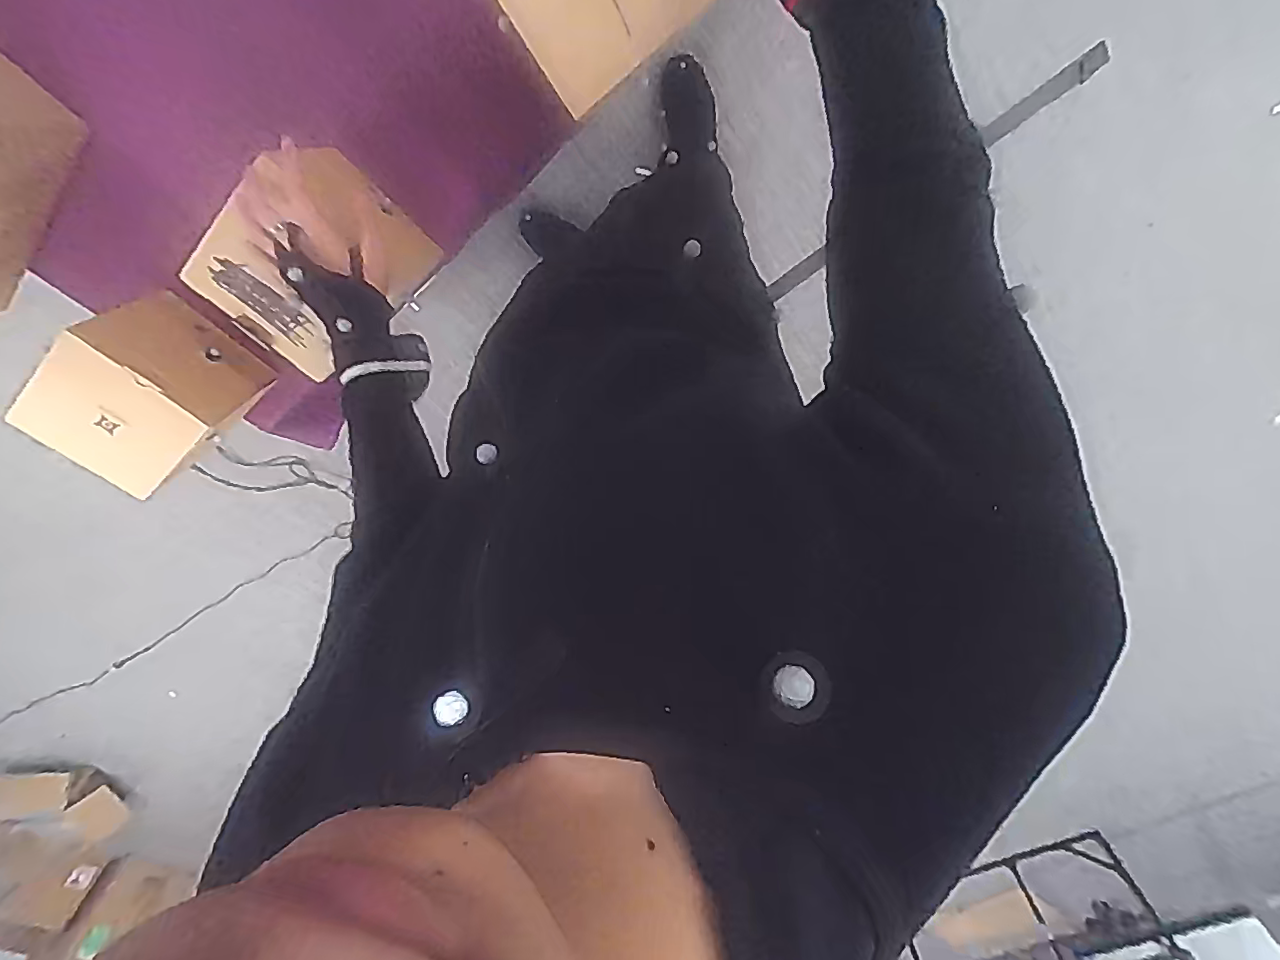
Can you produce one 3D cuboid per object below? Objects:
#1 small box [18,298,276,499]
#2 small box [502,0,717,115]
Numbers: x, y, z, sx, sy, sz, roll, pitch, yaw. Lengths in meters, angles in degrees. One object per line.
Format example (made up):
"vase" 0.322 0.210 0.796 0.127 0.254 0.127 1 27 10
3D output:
"small box" -0.645 -0.114 0.733 0.179 0.176 0.168 -36 118 18
"small box" -0.045 -0.482 0.515 0.168 0.176 0.179 -32 119 18
